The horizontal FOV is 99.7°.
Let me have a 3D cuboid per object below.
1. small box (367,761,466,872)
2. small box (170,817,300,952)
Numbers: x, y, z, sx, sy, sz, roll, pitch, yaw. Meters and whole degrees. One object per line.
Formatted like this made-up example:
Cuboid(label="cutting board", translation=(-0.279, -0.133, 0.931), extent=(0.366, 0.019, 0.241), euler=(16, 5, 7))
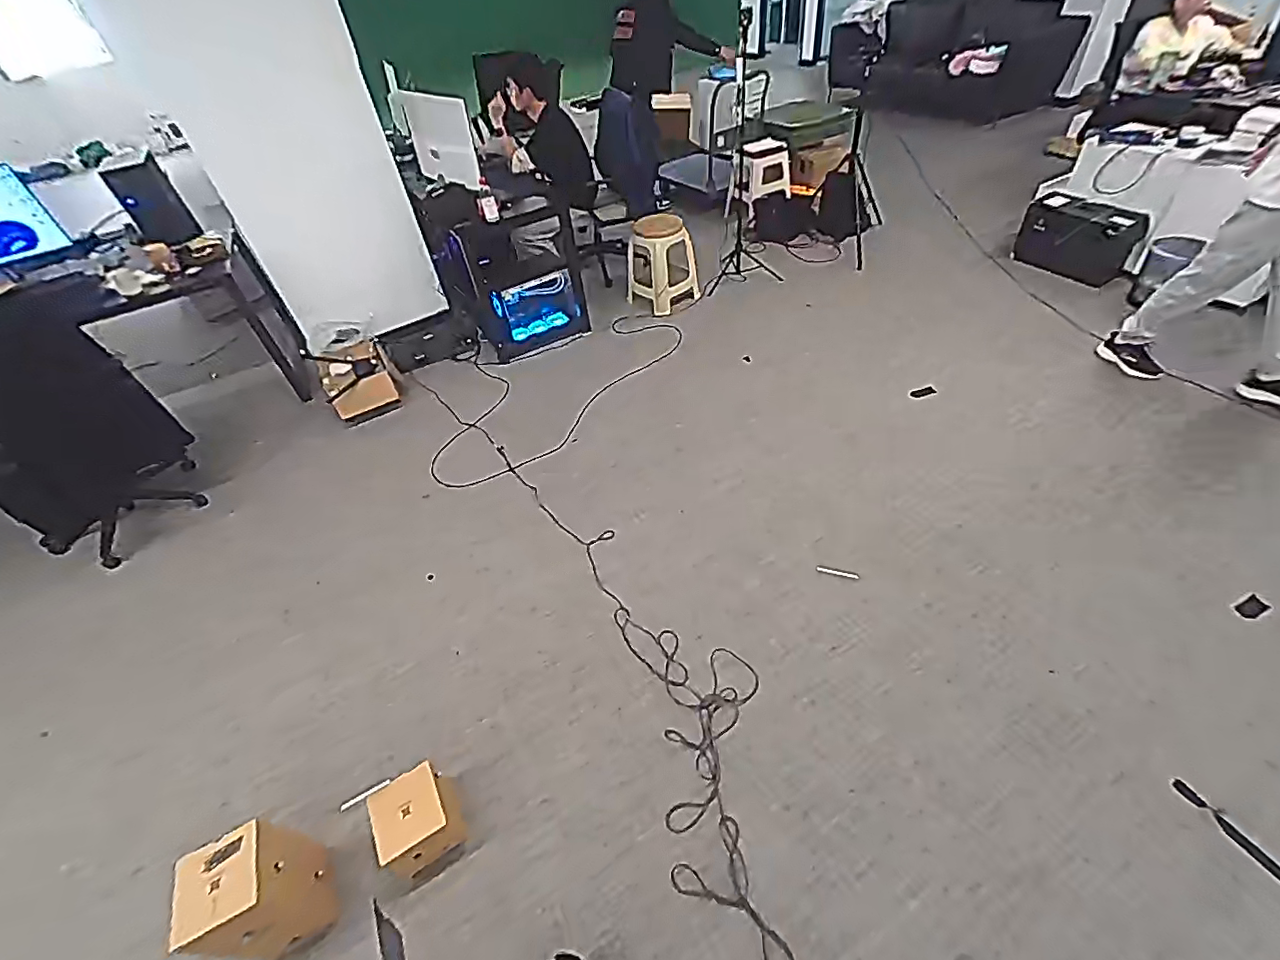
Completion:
Cuboid(label="small box", translation=(-0.574, 0.876, 1.400), extent=(0.168, 0.176, 0.179), euler=(-27, 48, -18))
Cuboid(label="small box", translation=(-0.880, 0.892, 1.192), extent=(0.168, 0.176, 0.179), euler=(-24, 48, -15))
